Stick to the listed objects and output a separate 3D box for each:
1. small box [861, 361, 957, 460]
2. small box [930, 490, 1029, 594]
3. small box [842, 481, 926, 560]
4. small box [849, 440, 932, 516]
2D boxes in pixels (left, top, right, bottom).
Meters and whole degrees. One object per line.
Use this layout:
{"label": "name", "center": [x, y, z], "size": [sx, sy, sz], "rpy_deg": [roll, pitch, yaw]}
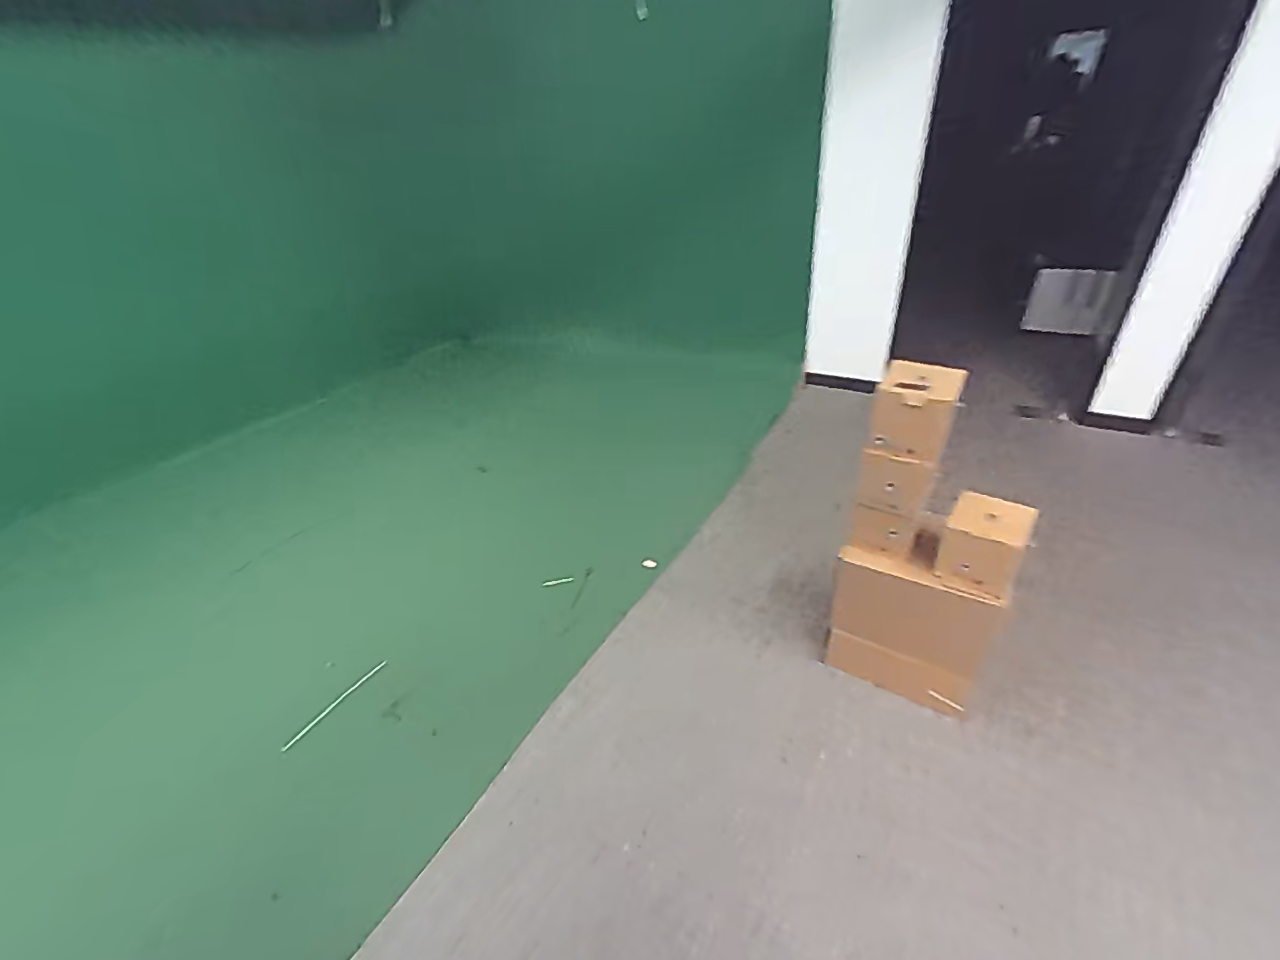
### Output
{"label": "small box", "center": [0.650, -0.169, 1.319], "size": [0.168, 0.176, 0.179], "rpy_deg": [17, 41, 27]}
{"label": "small box", "center": [0.865, 0.157, 1.387], "size": [0.168, 0.176, 0.179], "rpy_deg": [20, 43, 35]}
{"label": "small box", "center": [0.679, 0.094, 1.513], "size": [0.168, 0.176, 0.179], "rpy_deg": [19, 42, 29]}
{"label": "small box", "center": [0.656, -0.033, 1.412], "size": [0.168, 0.176, 0.179], "rpy_deg": [18, 43, 27]}
